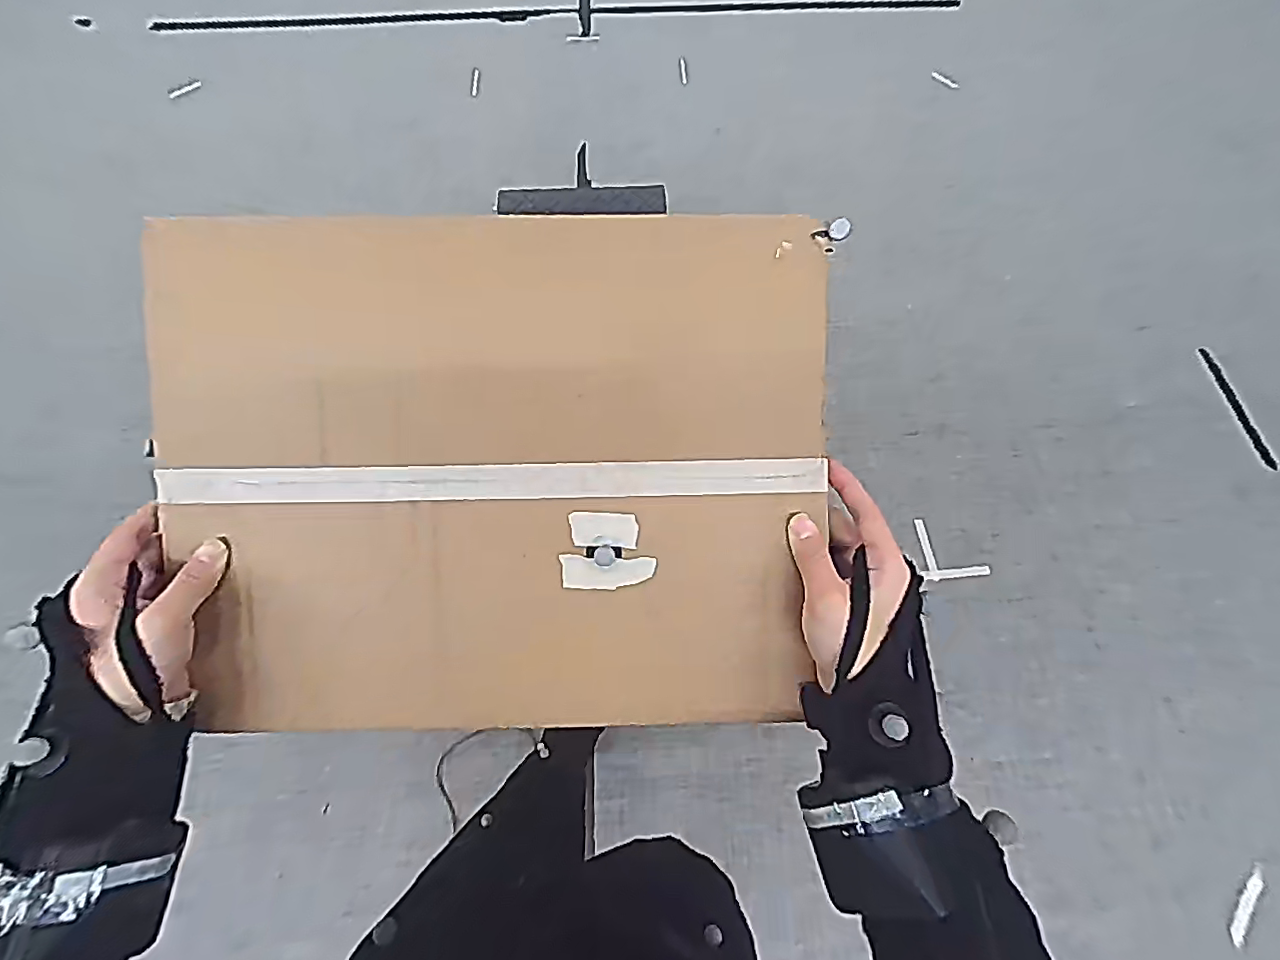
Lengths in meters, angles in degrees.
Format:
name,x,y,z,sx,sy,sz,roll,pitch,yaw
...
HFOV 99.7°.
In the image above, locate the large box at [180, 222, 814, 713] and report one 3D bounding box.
name,x,y,z,sx,sy,sz,roll,pitch,yaw
large box,-0.091,-0.014,0.495,0.408,0.320,0.320,-1,94,-1
